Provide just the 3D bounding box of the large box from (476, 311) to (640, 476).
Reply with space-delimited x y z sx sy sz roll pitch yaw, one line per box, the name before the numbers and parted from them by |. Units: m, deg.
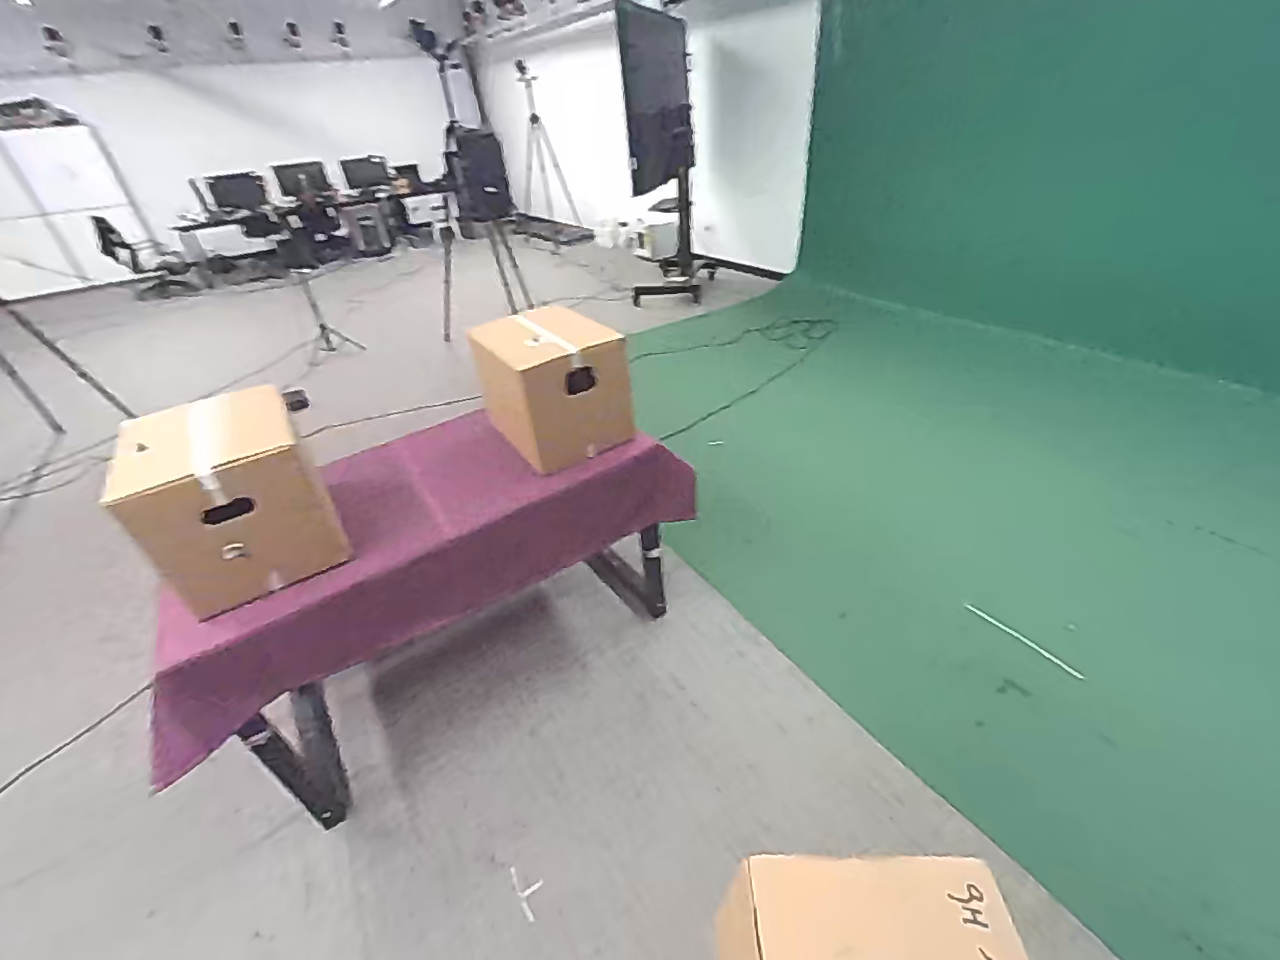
large box | -0.237 -0.269 1.587 0.320 0.320 0.408 -24 39 -24
